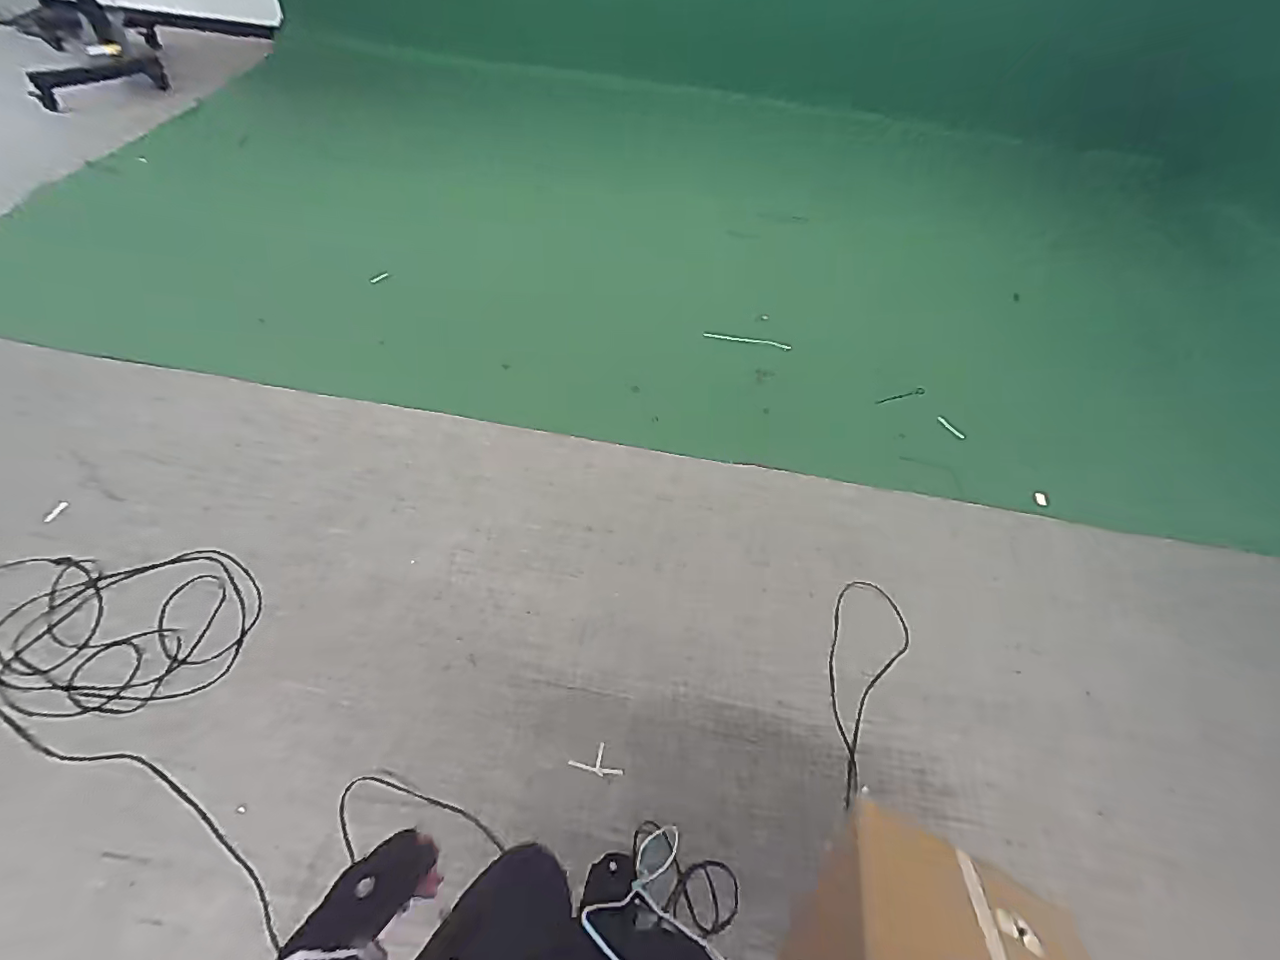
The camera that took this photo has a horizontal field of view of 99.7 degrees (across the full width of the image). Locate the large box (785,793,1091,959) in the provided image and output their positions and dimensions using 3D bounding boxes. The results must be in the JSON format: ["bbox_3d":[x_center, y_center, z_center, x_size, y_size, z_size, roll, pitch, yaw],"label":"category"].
[{"bbox_3d":[0.367,0.705,0.671,0.320,0.408,0.320,25,97,19],"label":"large box"}]
